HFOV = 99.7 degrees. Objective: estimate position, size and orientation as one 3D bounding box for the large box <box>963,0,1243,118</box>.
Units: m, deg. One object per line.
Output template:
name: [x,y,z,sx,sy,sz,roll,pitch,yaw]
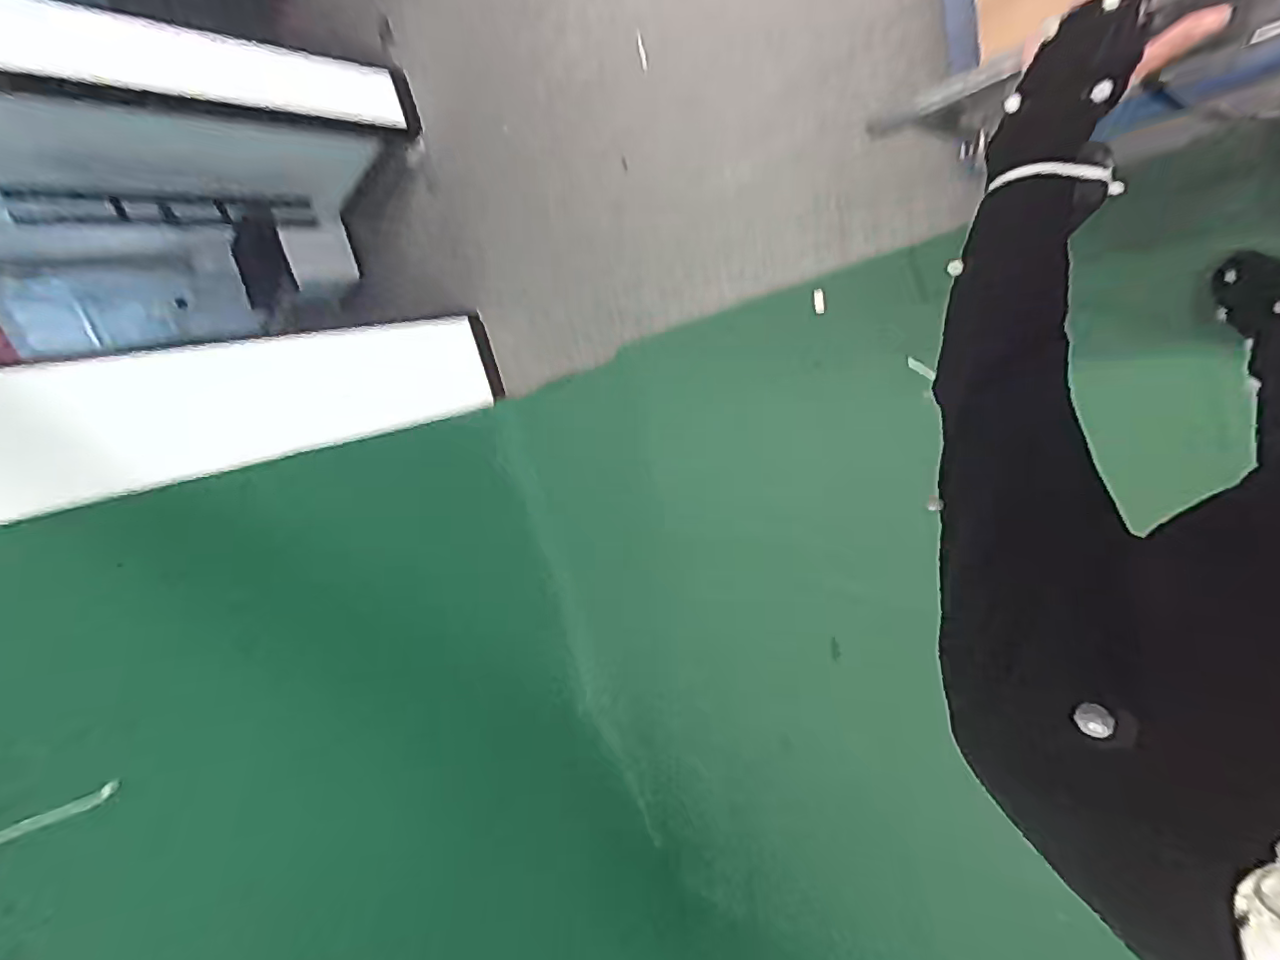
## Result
large box: [0.712,-0.875,0.844,0.320,0.320,0.408,-3,105,45]
